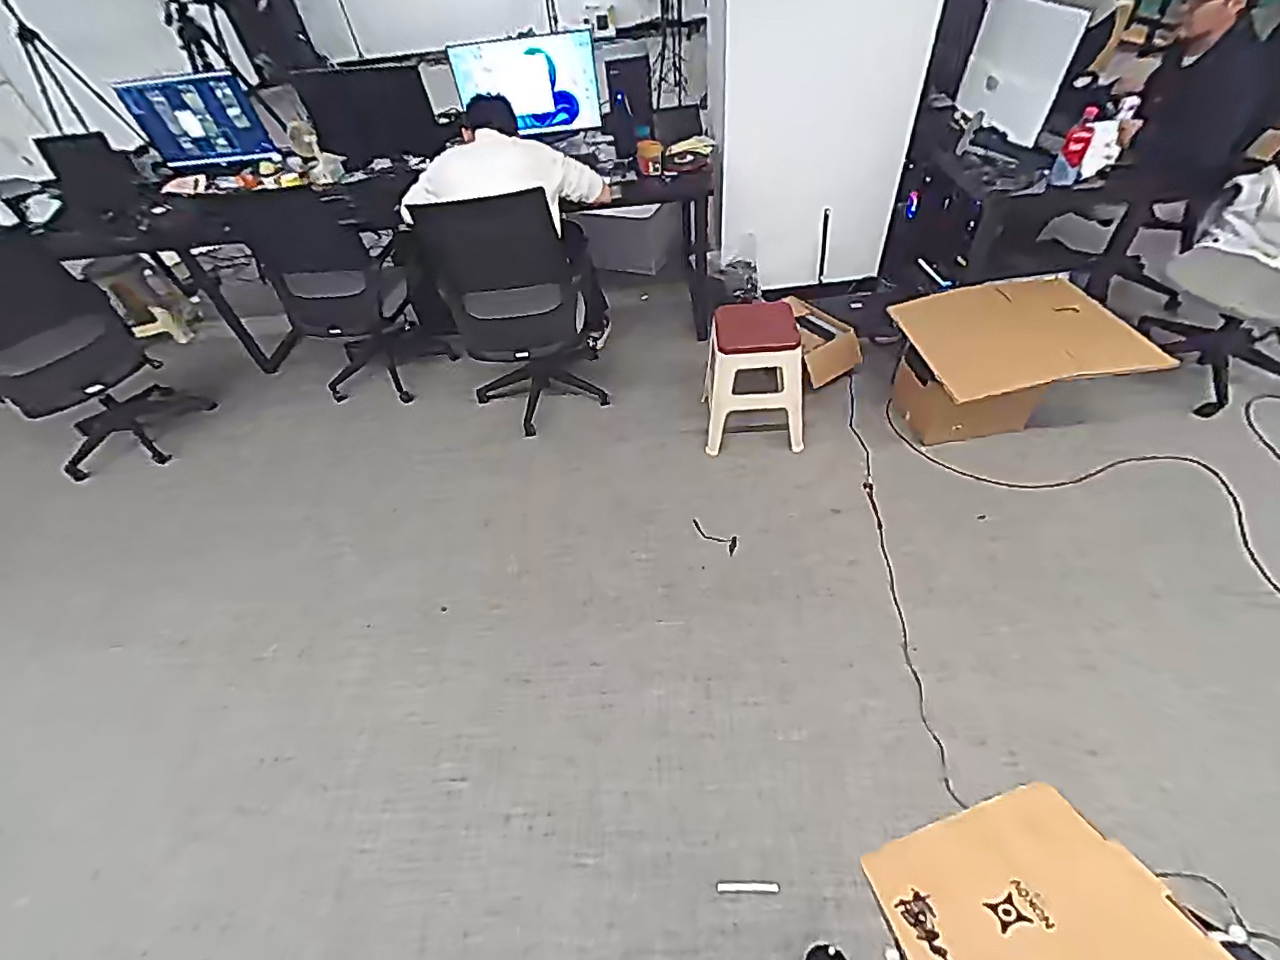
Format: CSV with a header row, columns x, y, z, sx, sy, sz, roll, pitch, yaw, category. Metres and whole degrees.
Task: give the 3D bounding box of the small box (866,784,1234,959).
x,y,z,sx,sy,sz,roll,pitch,yaw,category
0.310,0.385,0.409,0.179,0.176,0.168,-24,9,2,small box
